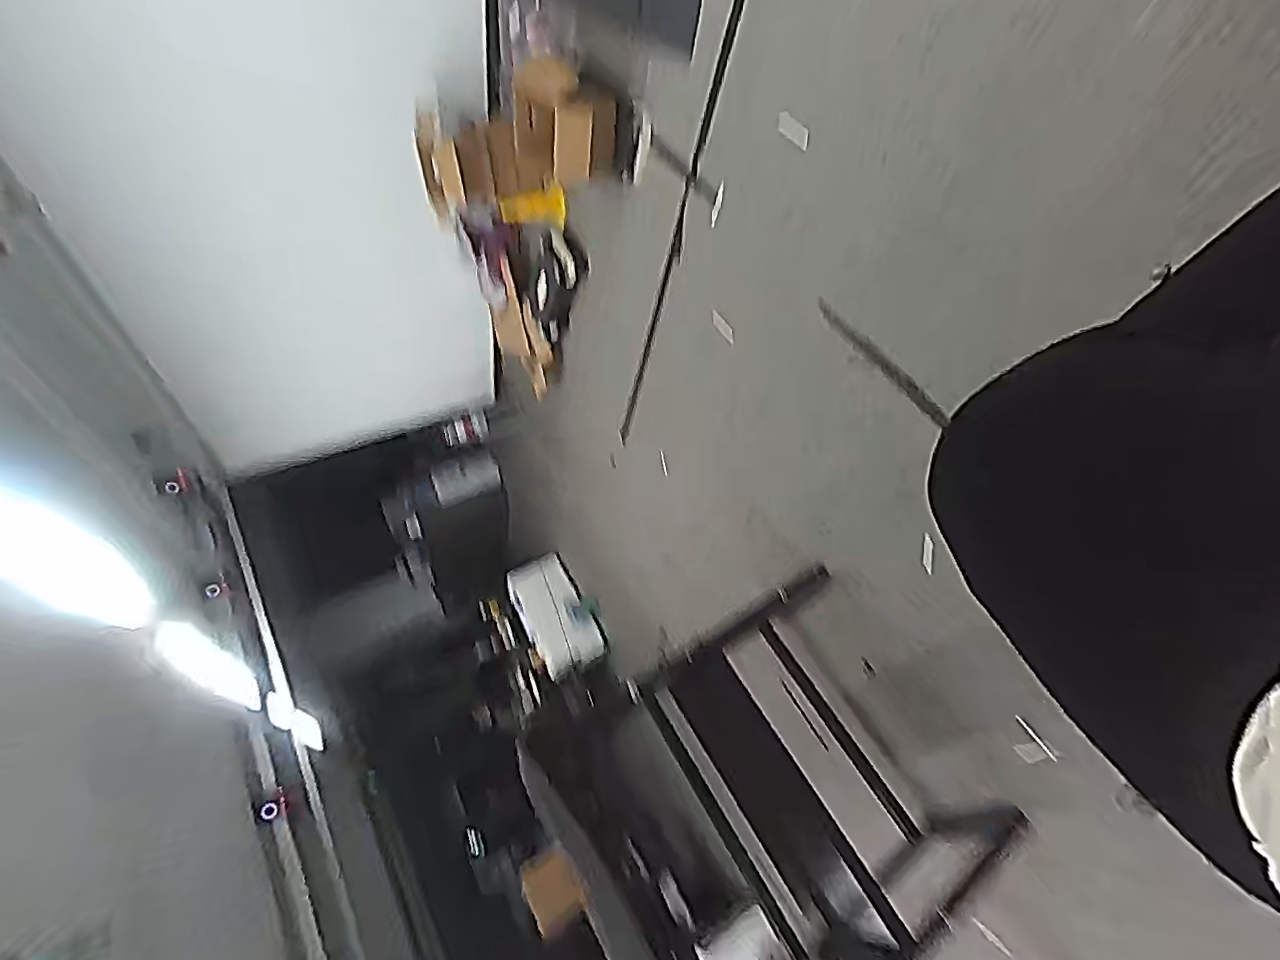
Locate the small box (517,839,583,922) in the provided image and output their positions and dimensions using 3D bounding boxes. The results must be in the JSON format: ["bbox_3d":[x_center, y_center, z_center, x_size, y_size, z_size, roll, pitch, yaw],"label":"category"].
[{"bbox_3d":[-0.313,1.382,1.881,0.168,0.176,0.179,56,152,20],"label":"small box"}]
